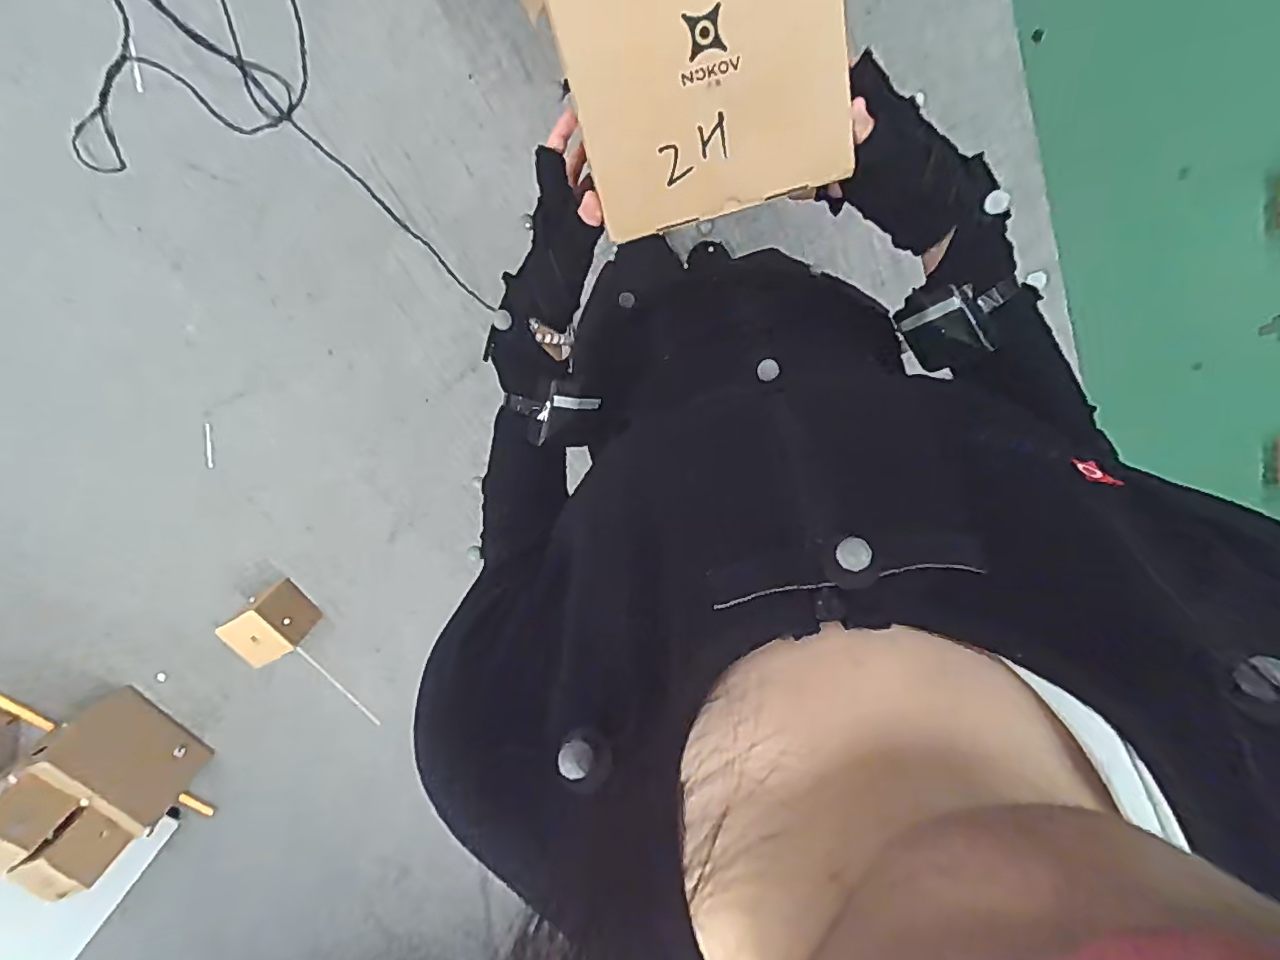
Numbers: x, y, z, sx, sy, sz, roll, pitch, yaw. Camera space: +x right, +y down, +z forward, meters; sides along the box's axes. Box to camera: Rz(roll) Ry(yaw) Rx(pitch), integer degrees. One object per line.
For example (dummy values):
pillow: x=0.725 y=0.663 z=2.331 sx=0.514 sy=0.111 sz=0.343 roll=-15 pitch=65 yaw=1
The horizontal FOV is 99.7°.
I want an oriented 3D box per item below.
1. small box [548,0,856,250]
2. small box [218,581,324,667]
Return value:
small box: x=0.034 y=-0.277 z=0.384 sx=0.168 sy=0.176 sz=0.179 roll=-14 pitch=117 yaw=3
small box: x=-1.147 y=0.442 z=1.695 sx=0.168 sy=0.176 sz=0.179 roll=-28 pitch=113 yaw=12
